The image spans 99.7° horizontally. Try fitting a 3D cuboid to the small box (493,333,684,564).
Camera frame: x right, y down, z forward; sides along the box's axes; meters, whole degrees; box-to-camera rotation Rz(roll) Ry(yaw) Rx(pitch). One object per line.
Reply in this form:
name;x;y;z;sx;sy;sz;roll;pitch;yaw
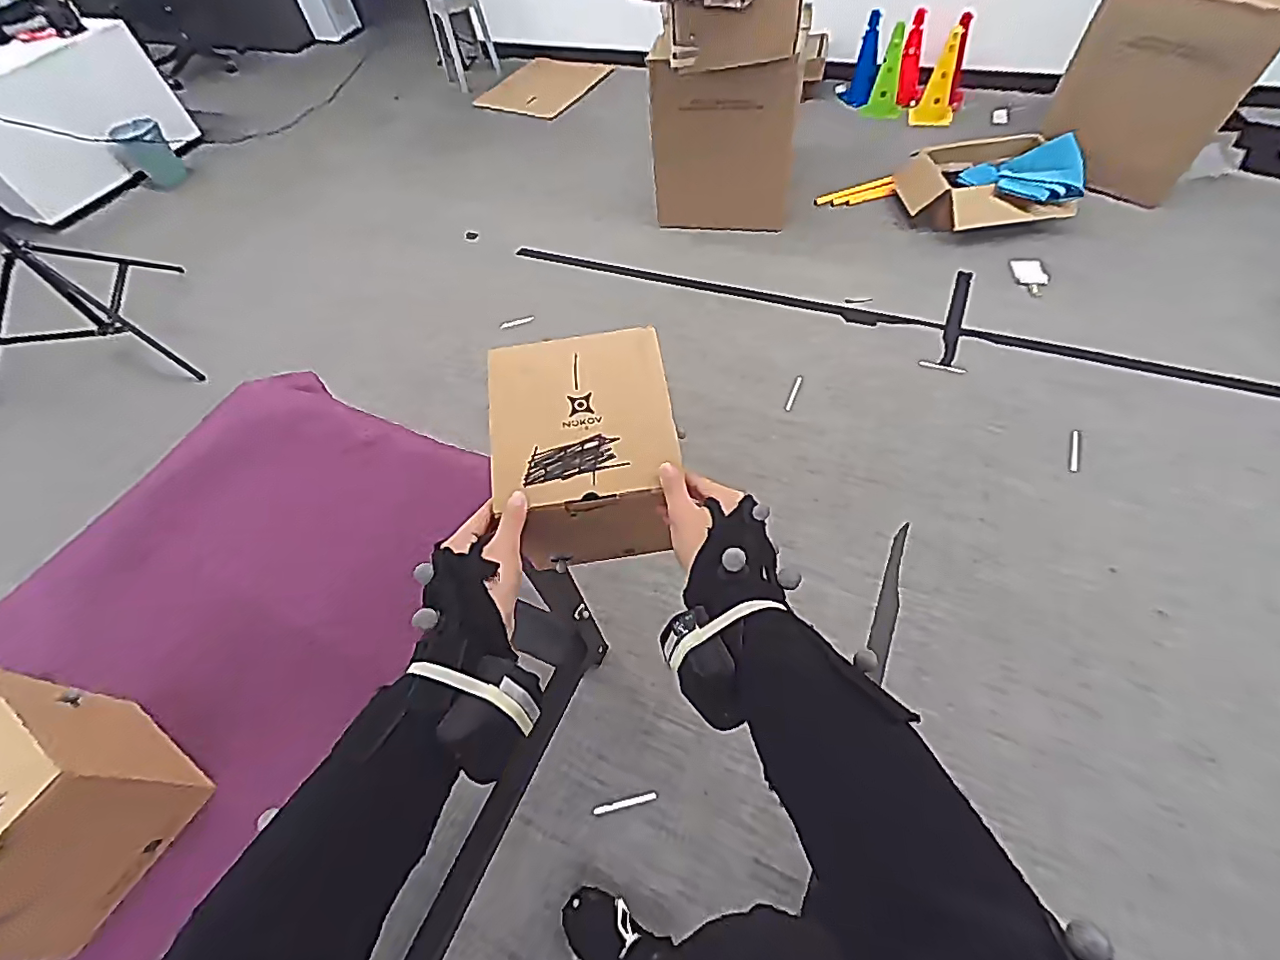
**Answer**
small box;-0.048;-0.021;0.564;0.168;0.176;0.179;-9;63;-2
